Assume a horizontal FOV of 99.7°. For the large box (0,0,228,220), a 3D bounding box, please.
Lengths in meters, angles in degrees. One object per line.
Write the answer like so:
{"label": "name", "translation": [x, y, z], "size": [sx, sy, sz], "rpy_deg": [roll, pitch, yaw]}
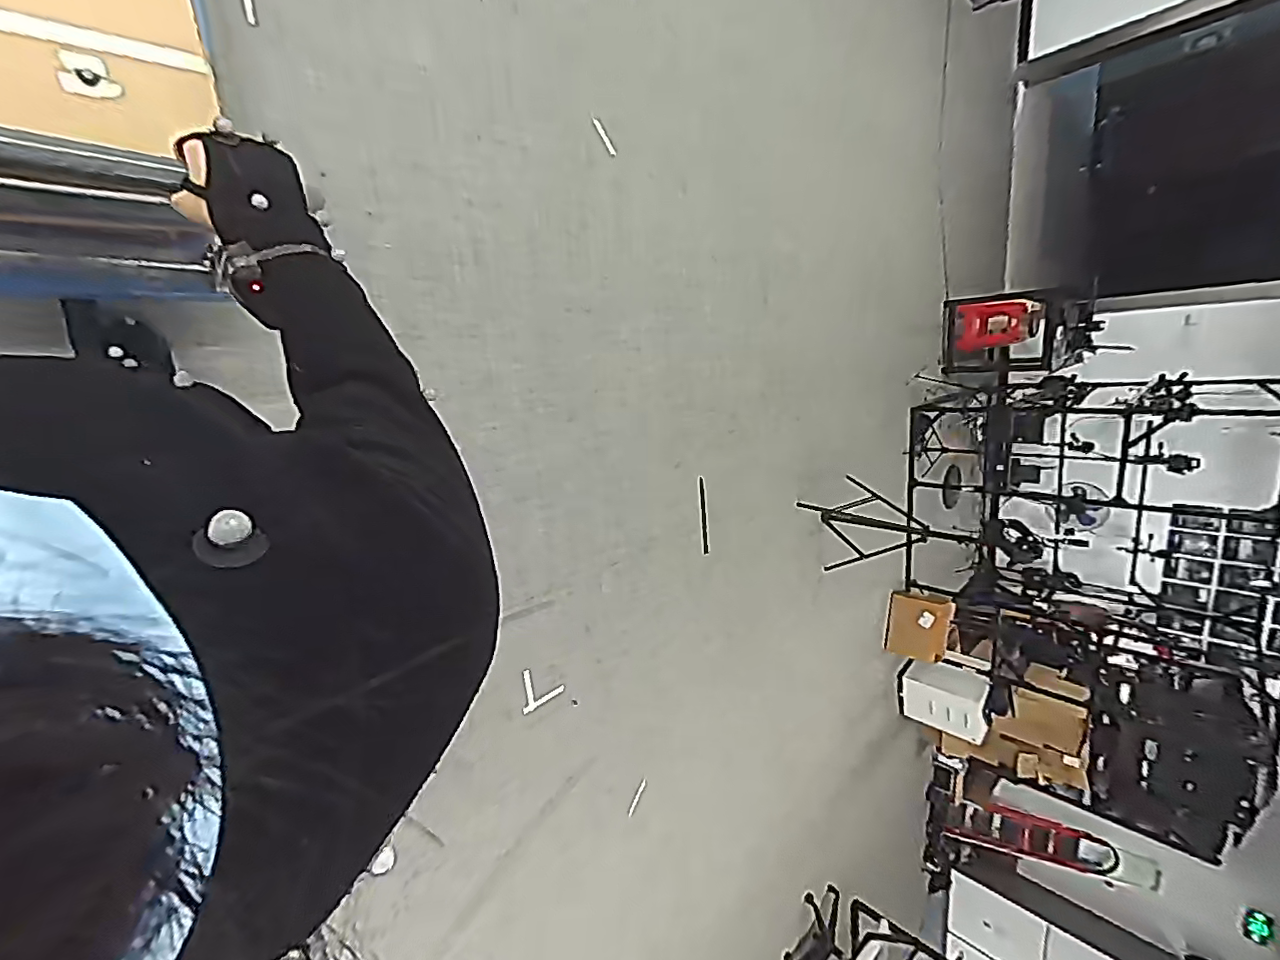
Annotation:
{"label": "large box", "translation": [-0.881, -0.575, 0.749], "size": [0.408, 0.320, 0.320], "rpy_deg": [-19, 109, -43]}
